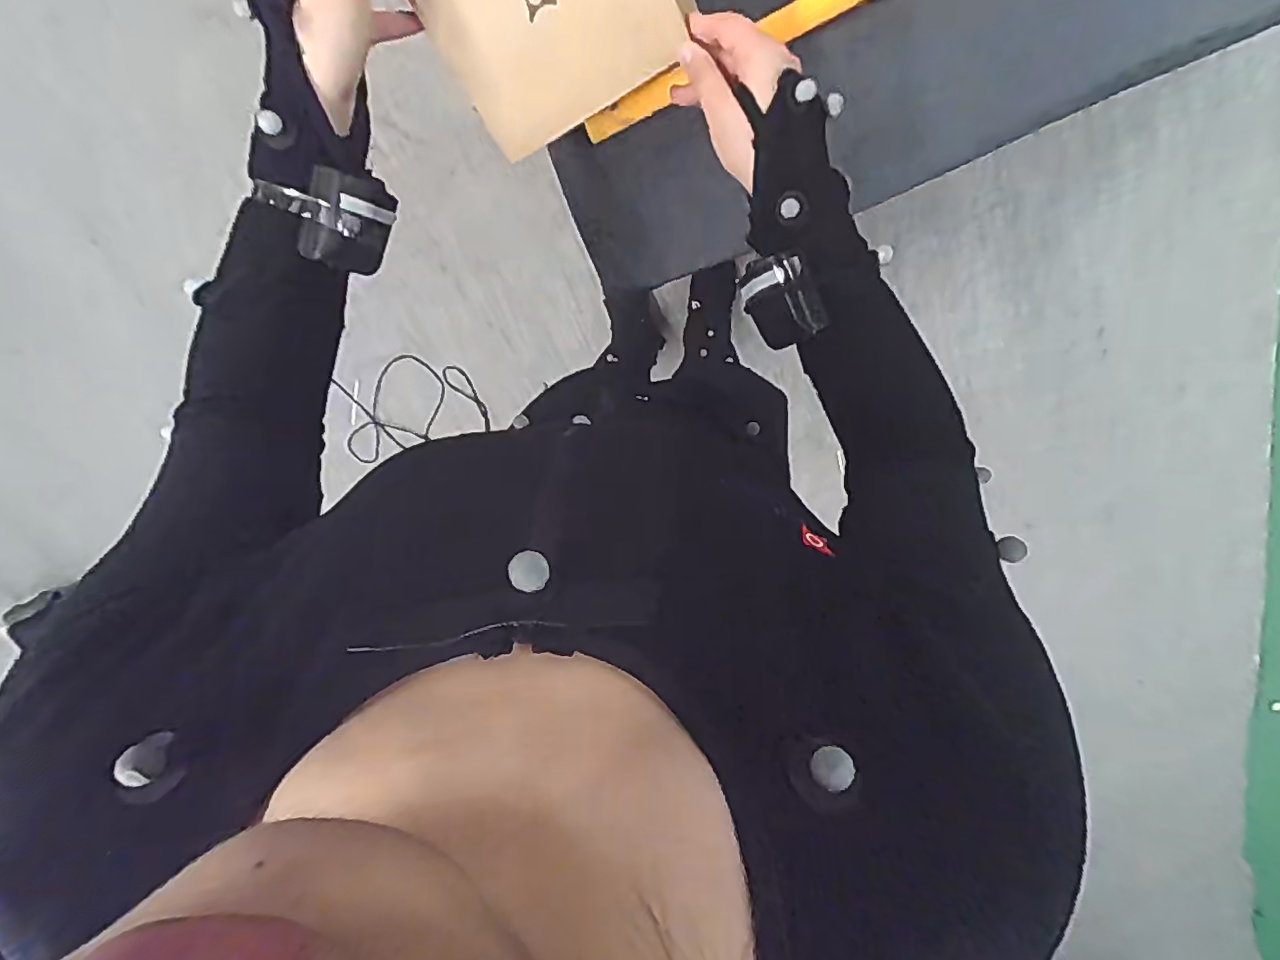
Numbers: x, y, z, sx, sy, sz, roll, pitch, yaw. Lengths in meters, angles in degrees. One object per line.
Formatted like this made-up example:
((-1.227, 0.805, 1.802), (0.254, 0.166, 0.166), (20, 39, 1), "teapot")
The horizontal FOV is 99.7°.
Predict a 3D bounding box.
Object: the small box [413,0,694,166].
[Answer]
((-0.063, -0.392, 0.417), (0.168, 0.176, 0.179), (-17, 132, 23), "small box")
